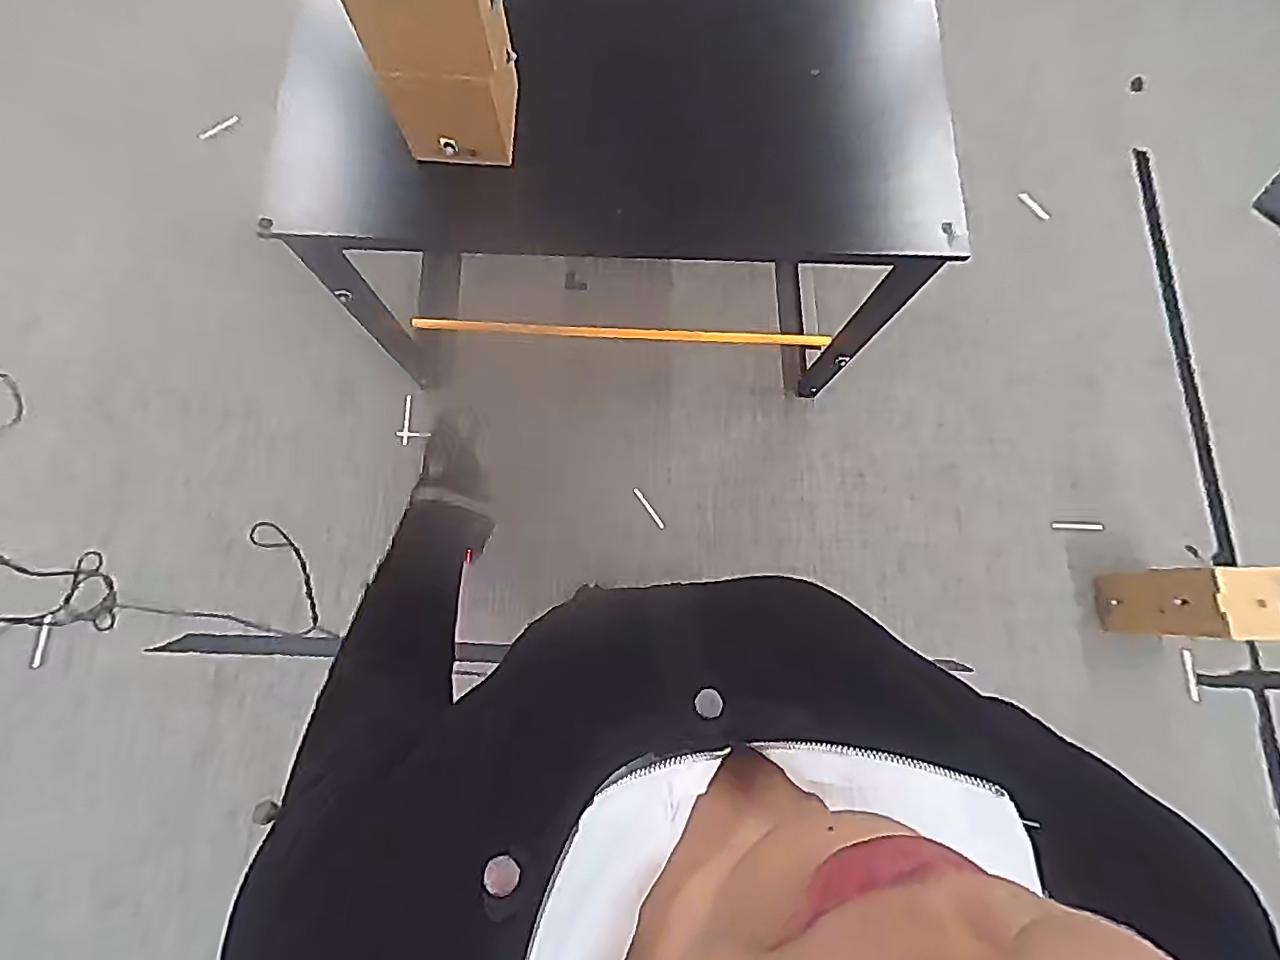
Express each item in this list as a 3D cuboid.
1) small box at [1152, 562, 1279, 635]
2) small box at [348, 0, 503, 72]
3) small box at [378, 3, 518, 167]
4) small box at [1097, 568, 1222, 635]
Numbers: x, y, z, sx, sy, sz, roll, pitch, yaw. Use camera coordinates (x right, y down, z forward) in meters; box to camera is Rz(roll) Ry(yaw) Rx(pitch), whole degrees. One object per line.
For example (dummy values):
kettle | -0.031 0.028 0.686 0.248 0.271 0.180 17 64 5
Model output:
small box | 1.407 0.289 1.318 0.179 0.176 0.168 1 78 -1
small box | -0.290 -0.679 0.712 0.179 0.176 0.168 0 78 -2
small box | -0.297 -0.646 0.873 0.168 0.176 0.179 1 79 -1
small box | 1.412 0.330 1.477 0.179 0.176 0.168 2 78 -2
